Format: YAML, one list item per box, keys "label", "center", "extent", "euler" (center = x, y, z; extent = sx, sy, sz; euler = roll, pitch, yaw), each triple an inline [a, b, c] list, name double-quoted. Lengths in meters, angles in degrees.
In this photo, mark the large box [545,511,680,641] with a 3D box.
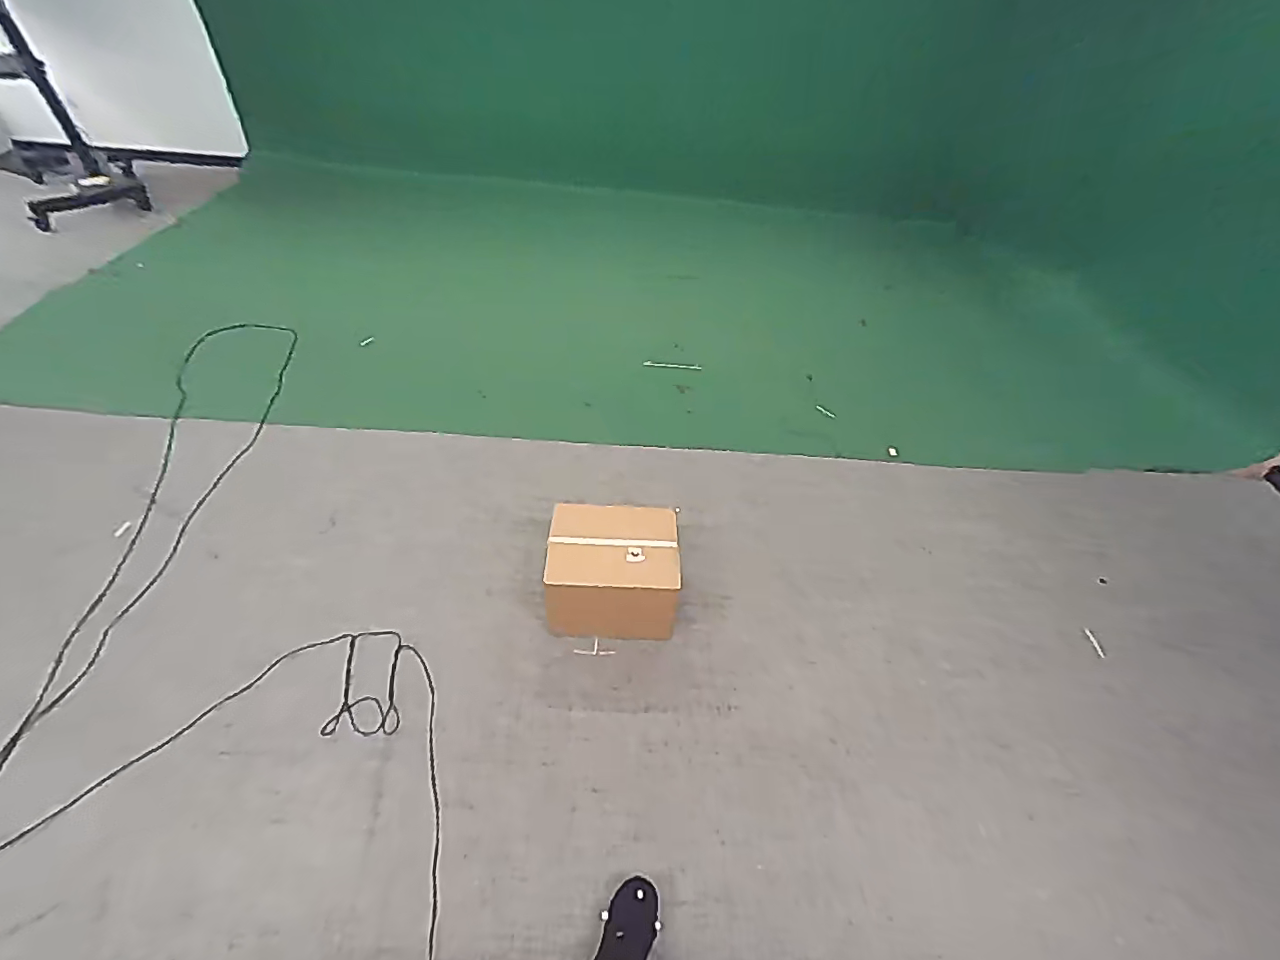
- label: "large box"
  center: [-0.098, 0.322, 1.791]
  extent: [0.408, 0.320, 0.320]
  euler: [2, 45, -4]
